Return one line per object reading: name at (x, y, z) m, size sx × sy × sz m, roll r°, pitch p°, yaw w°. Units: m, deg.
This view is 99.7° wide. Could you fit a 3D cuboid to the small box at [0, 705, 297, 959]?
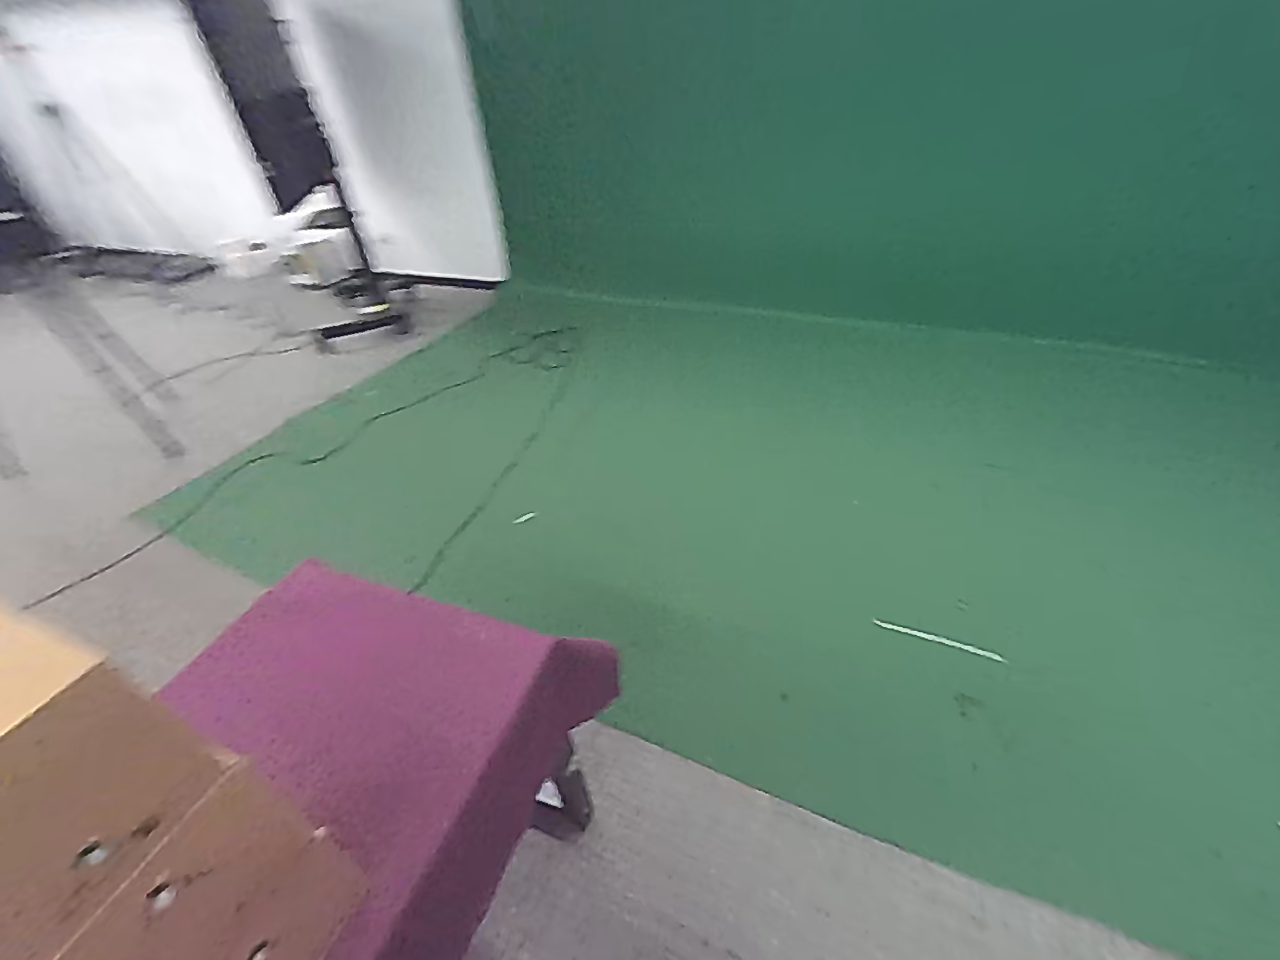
small box at (-0.460, 0.351, 0.500) m, size 0.168 × 0.176 × 0.179 m, roll 11°, pitch 42°, yaw 19°
